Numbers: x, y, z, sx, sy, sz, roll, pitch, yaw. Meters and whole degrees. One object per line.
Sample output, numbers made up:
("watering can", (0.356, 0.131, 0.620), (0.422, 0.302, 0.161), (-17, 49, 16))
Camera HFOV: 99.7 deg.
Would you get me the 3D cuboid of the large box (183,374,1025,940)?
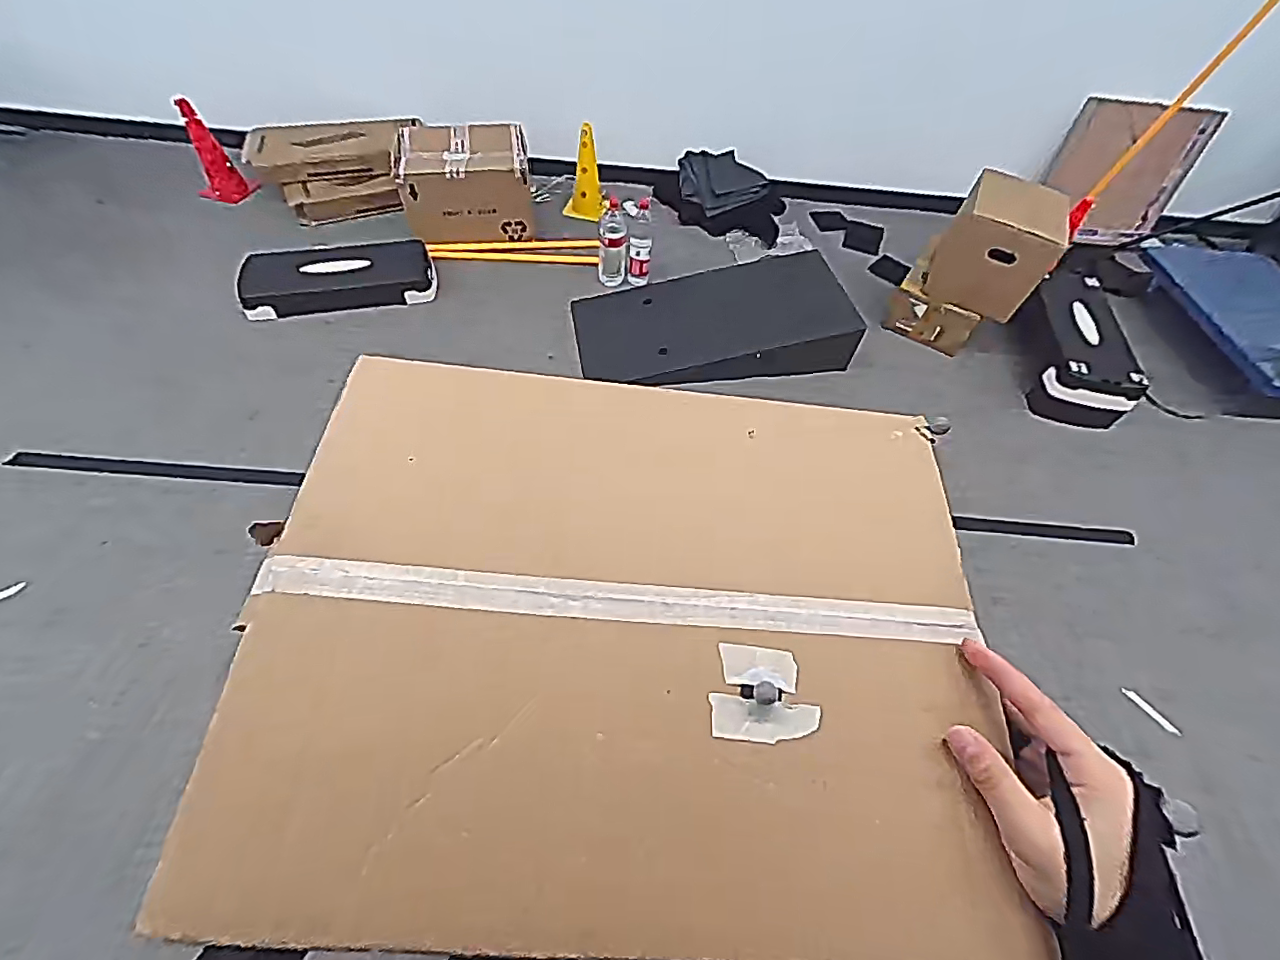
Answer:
("large box", (-0.017, 0.146, 0.451), (0.408, 0.320, 0.320), (6, 62, -5))
